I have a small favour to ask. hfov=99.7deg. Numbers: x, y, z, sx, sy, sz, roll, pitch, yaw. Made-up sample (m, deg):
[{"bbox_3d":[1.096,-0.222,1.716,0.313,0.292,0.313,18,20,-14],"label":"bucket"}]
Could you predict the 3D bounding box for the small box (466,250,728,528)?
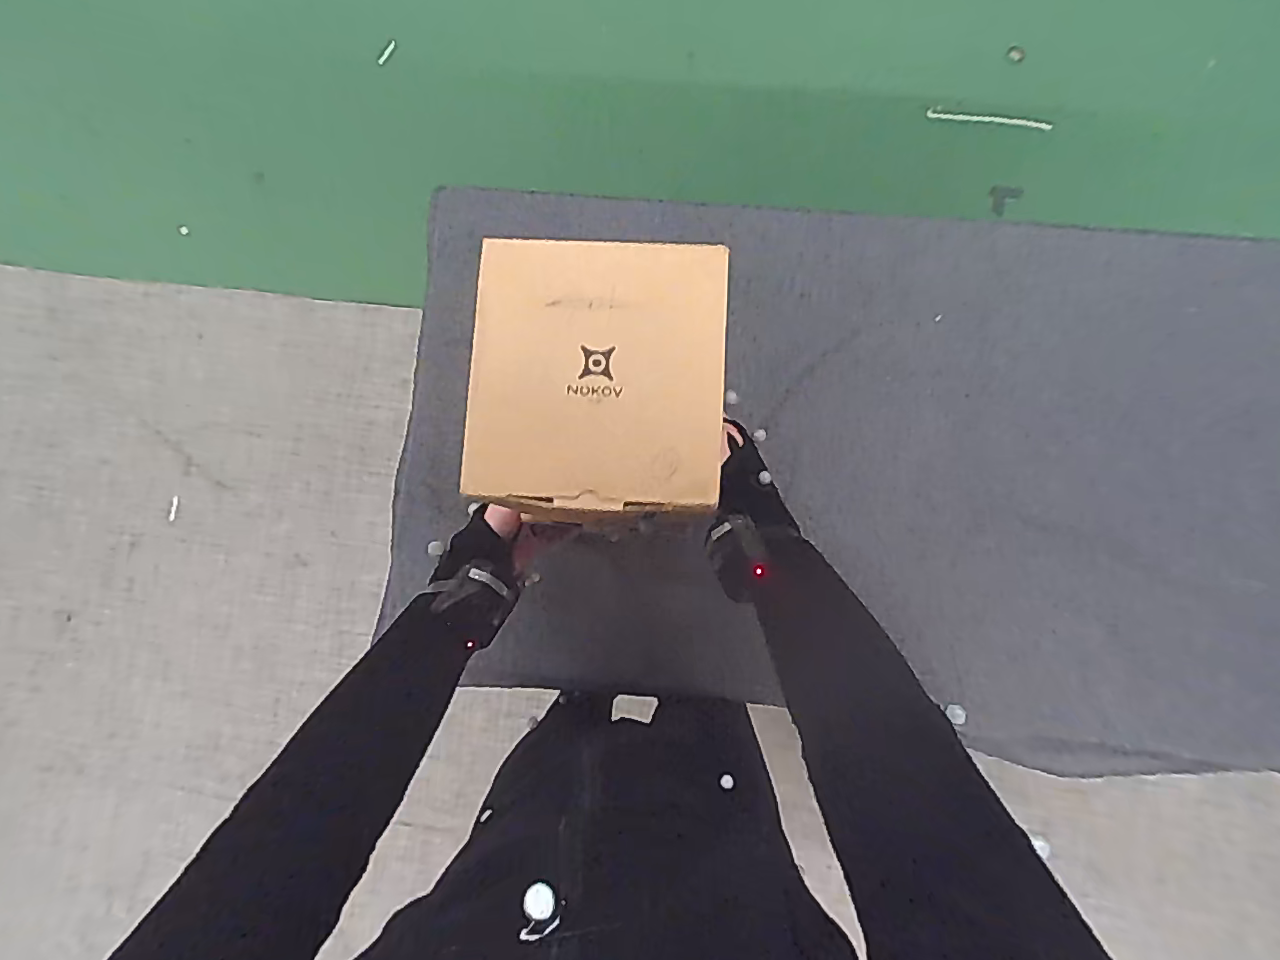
[{"bbox_3d":[-0.024,-0.055,0.427,0.168,0.176,0.179,1,81,1],"label":"small box"}]
